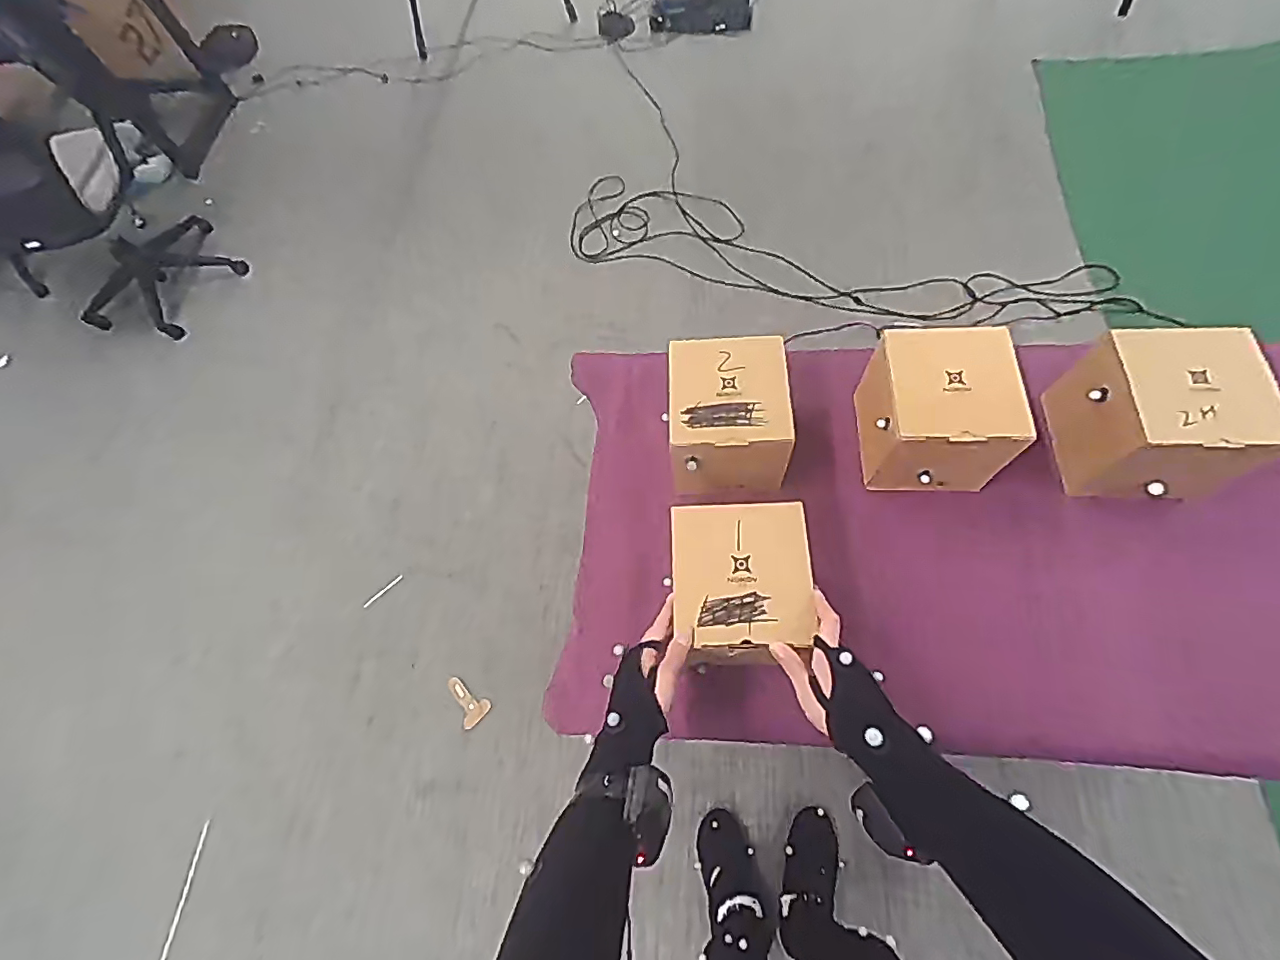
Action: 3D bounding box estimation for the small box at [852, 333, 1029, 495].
[{"bbox_3d":[0.419,-0.091,0.789,0.168,0.176,0.179,0,67,8],"label":"small box"}]

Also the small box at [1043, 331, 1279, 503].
[{"bbox_3d":[0.697,-0.082,0.744,0.168,0.176,0.179,1,67,9],"label":"small box"}]

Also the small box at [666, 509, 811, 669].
[{"bbox_3d":[0.123,0.152,0.716,0.168,0.176,0.179,-3,64,6],"label":"small box"}]
